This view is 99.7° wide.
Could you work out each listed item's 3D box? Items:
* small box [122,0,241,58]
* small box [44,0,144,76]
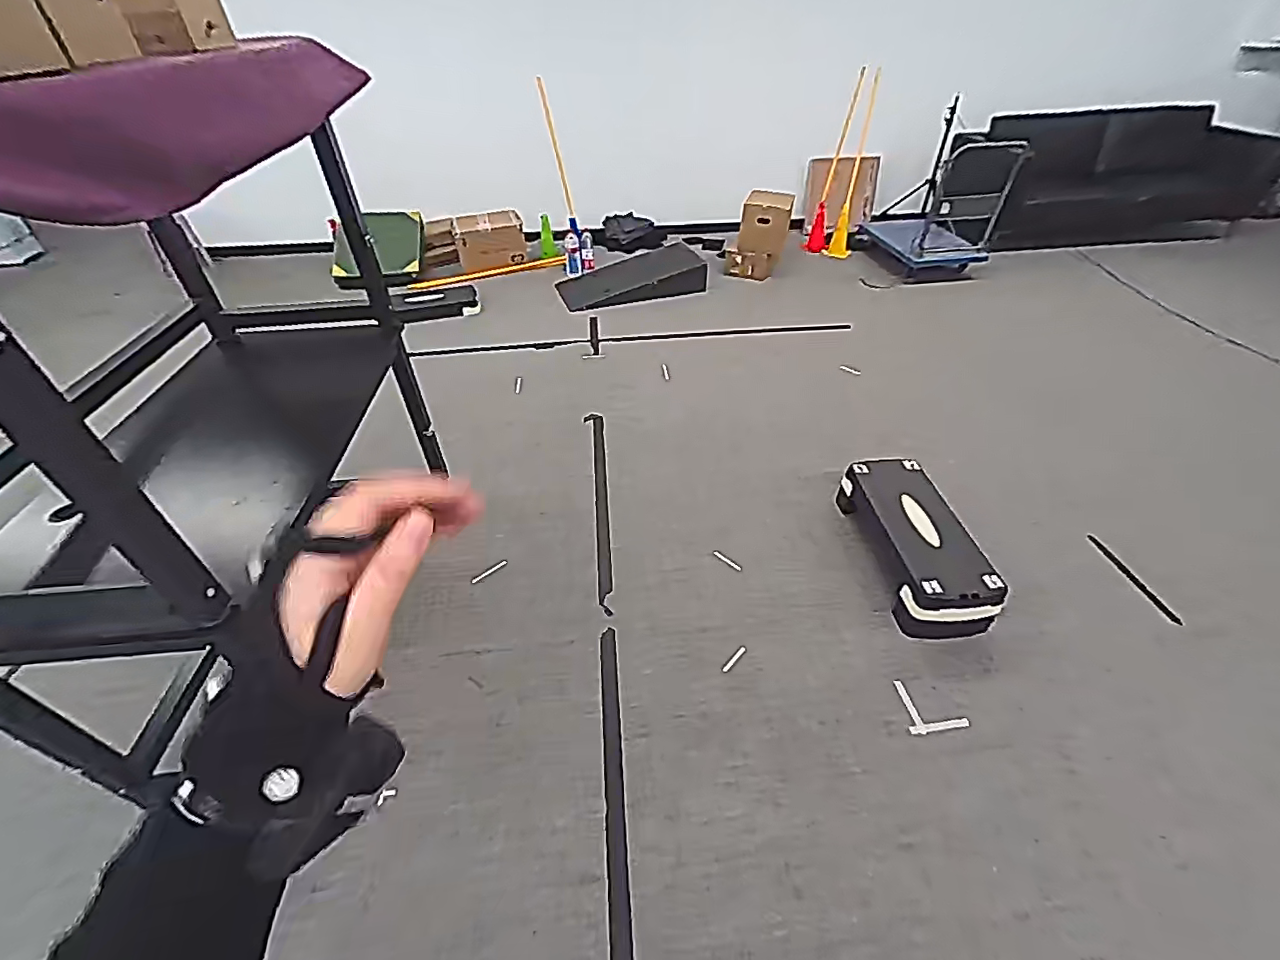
[{"bbox_3d":[-0.976,-0.985,1.119,0.168,0.176,0.179,-3,41,-1],"label":"small box"},{"bbox_3d":[-0.950,-0.751,0.853,0.168,0.176,0.179,-4,42,-2],"label":"small box"}]
